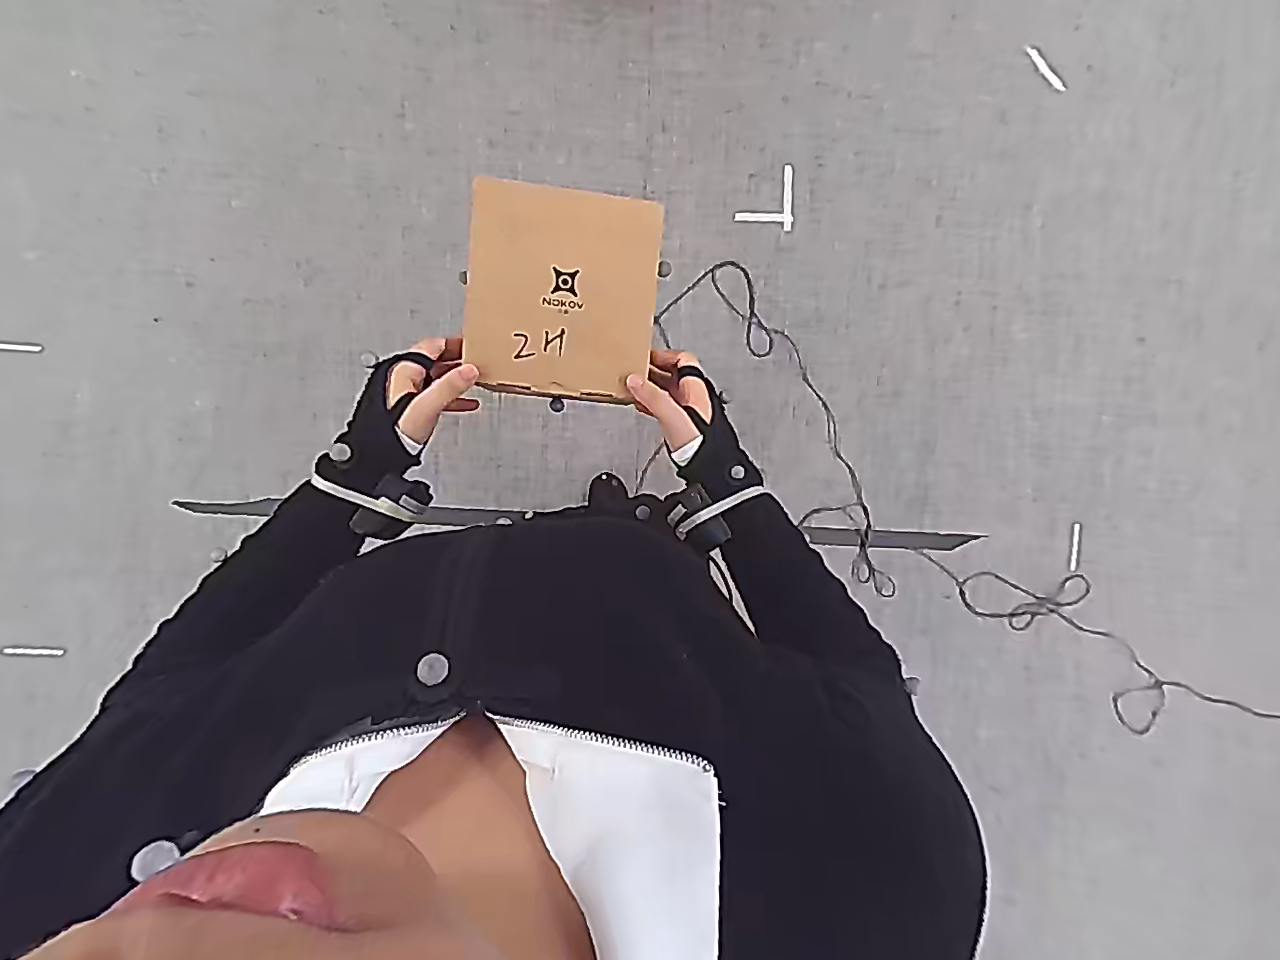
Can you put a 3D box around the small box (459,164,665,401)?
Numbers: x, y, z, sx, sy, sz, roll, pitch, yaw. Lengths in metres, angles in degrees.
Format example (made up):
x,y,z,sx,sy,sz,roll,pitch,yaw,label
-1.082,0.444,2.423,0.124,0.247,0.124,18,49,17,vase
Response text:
x,y,z,sx,sy,sz,roll,pitch,yaw,label
-0.077,-0.178,0.546,0.168,0.176,0.179,5,95,-7,small box
